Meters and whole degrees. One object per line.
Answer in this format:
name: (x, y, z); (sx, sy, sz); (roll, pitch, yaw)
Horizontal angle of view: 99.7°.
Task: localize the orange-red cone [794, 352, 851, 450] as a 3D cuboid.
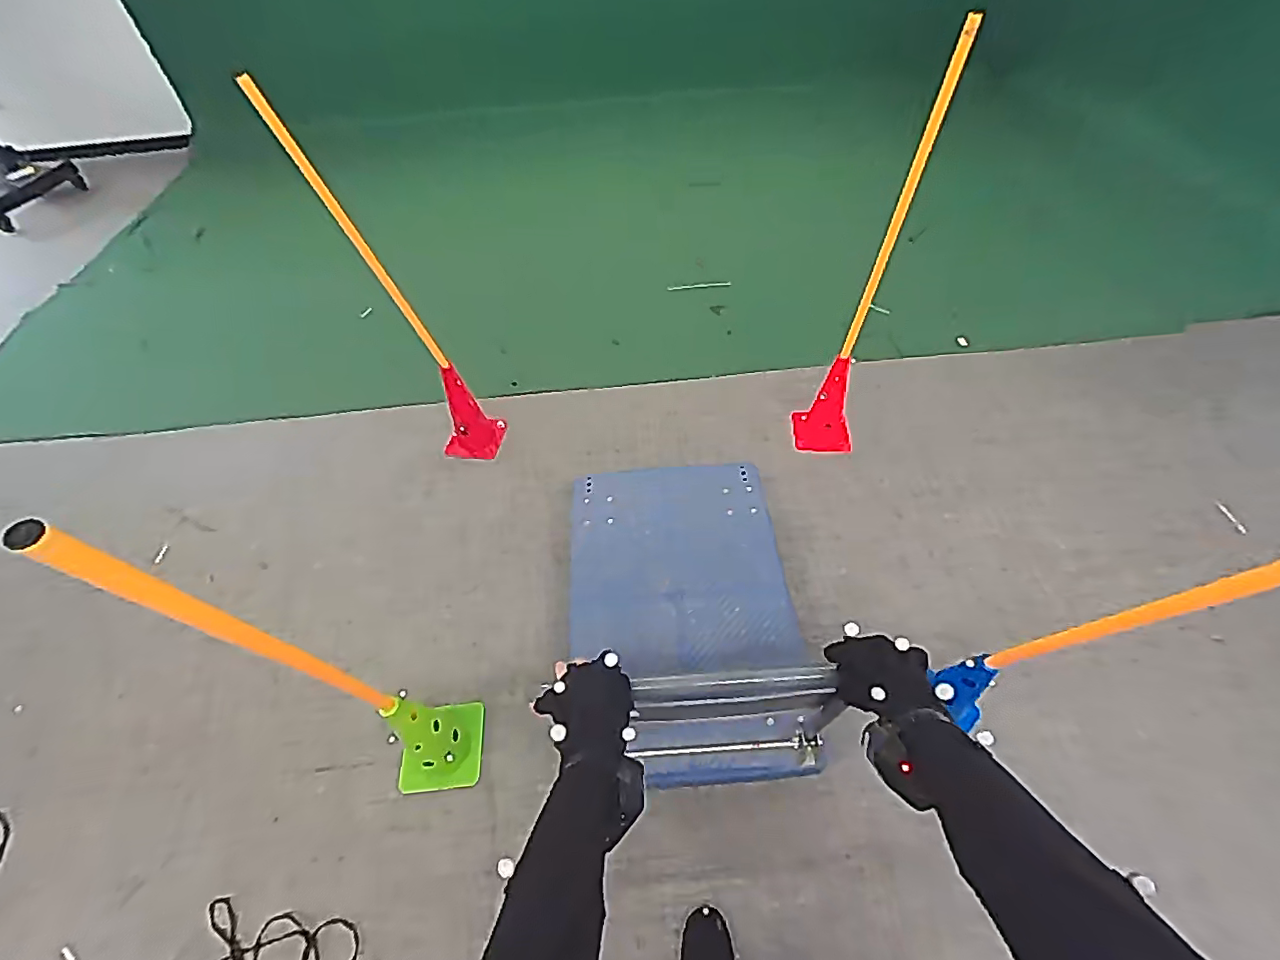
orange-red cone: (0.662, -0.289, 1.861); (0.198, 0.360, 0.199); (3, 53, 7)
